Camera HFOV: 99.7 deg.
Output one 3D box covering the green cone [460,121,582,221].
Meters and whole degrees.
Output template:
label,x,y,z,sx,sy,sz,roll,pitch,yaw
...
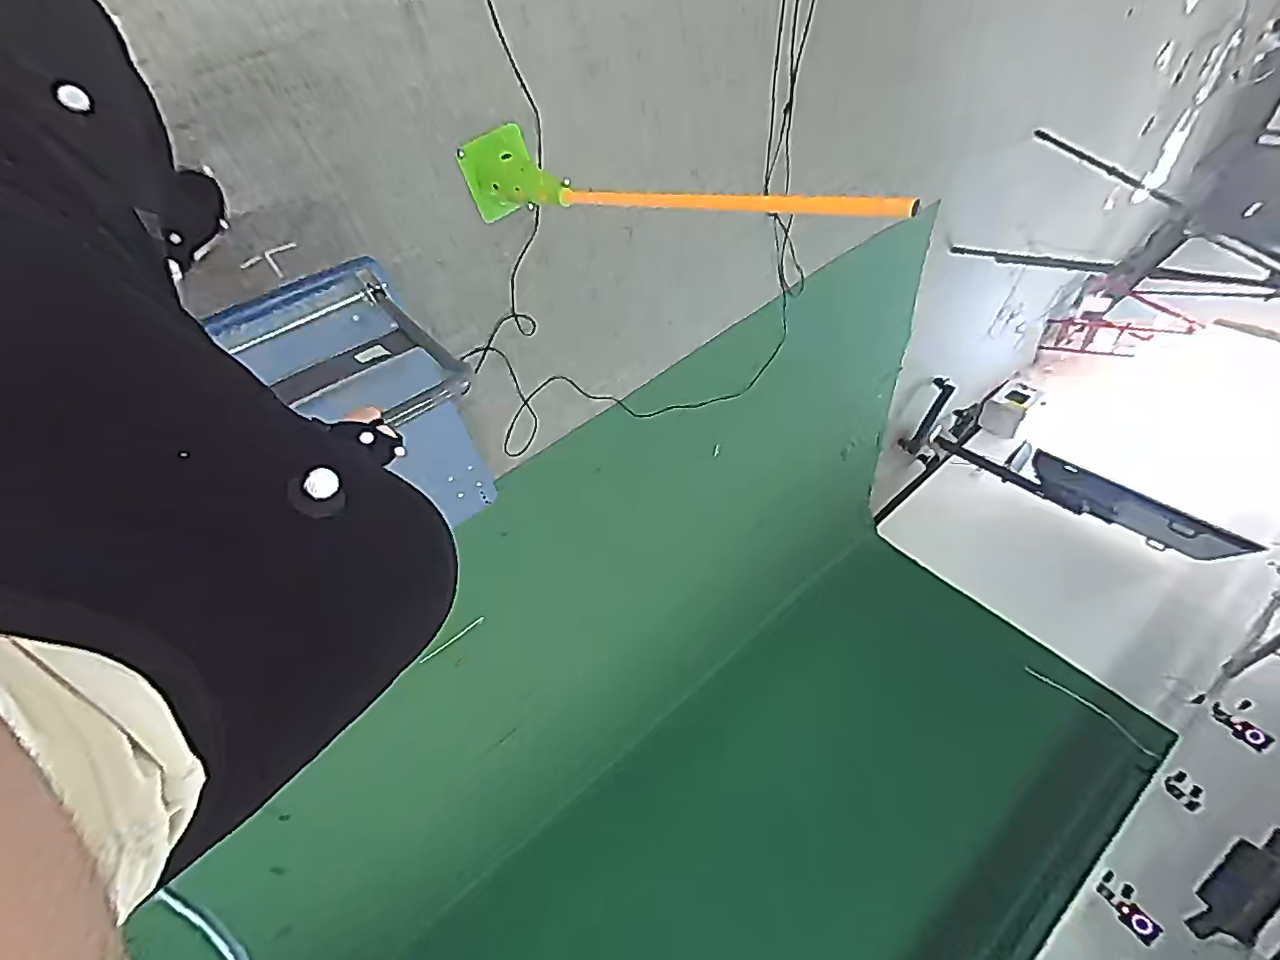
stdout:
label,x,y,z,sx,sy,sz,roll,pitch,yaw
green cone,-0.271,-0.763,1.393,0.202,0.368,0.200,-39,142,-16
